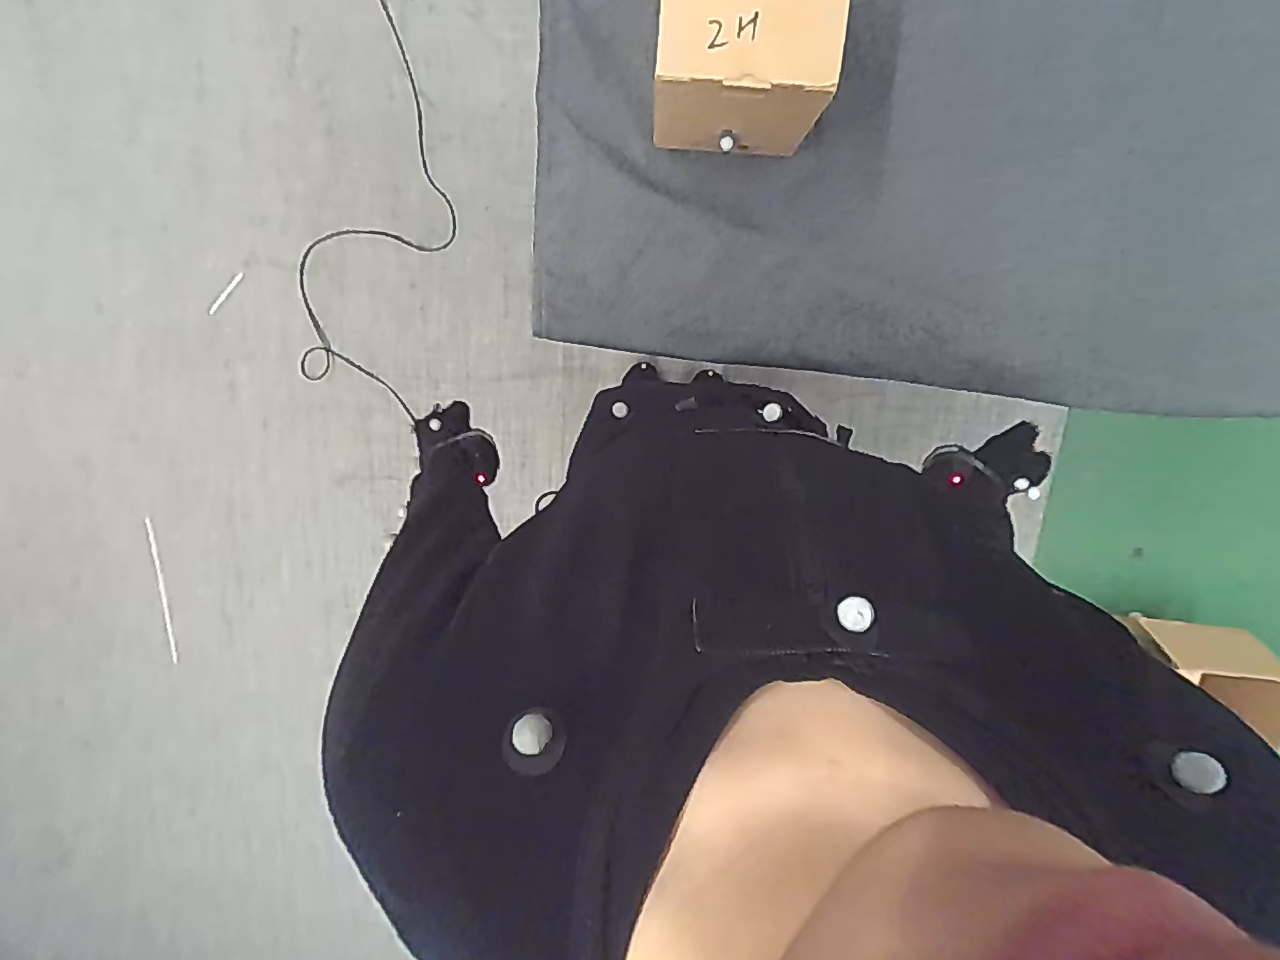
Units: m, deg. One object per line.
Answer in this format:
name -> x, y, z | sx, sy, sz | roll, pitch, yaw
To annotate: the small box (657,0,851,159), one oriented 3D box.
small box -> 0.105, -0.457, 0.548 | 0.168, 0.176, 0.179 | 4, 102, 0
